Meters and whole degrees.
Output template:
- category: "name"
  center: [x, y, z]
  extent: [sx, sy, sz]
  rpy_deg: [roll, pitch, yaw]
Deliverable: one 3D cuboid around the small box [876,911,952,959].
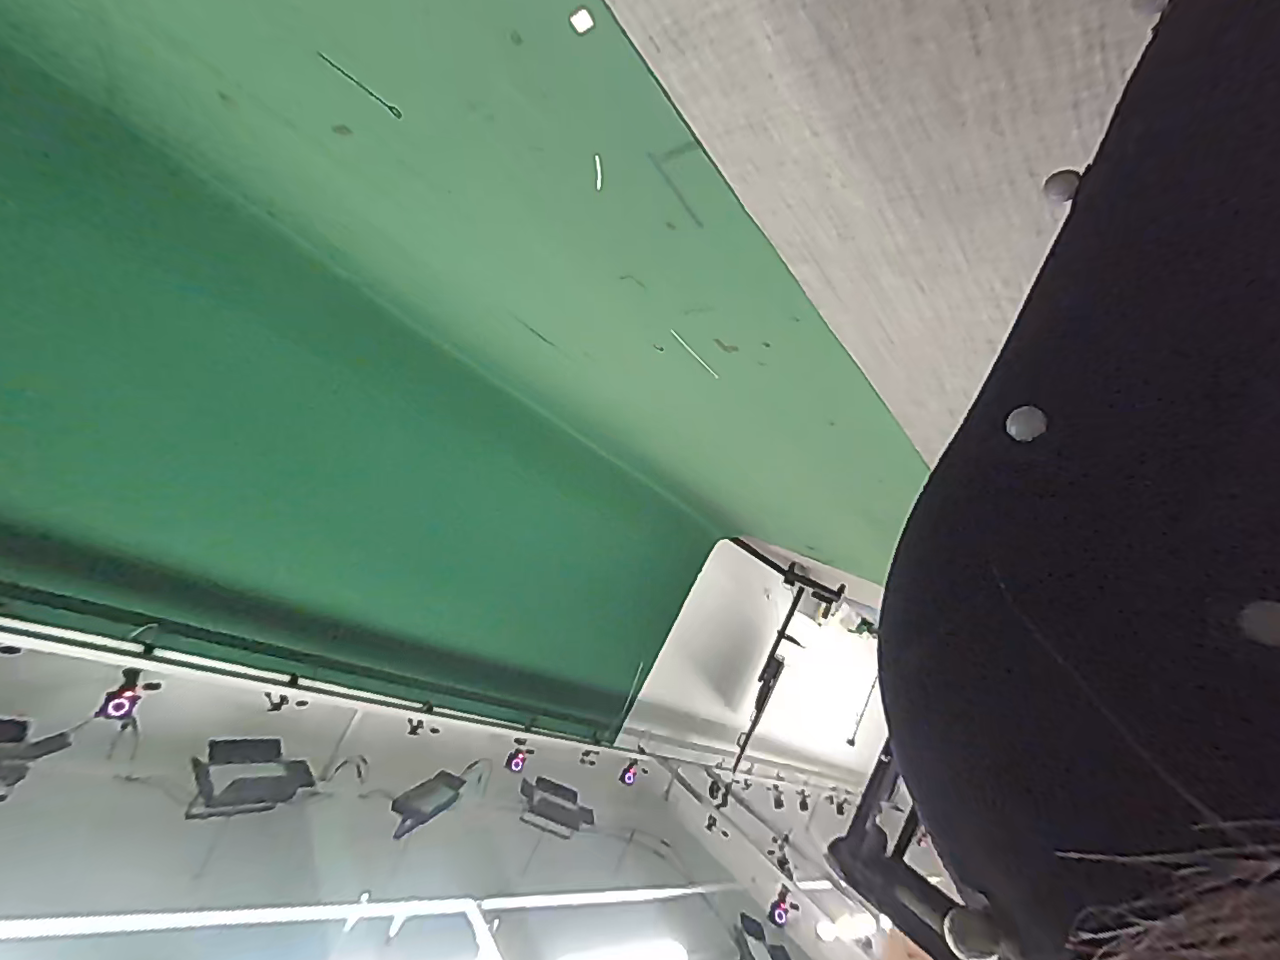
- category: "small box"
  center: [0.968, 1.664, 1.905]
  extent: [0.179, 0.176, 0.168]
  rpy_deg: [35, 170, -38]
